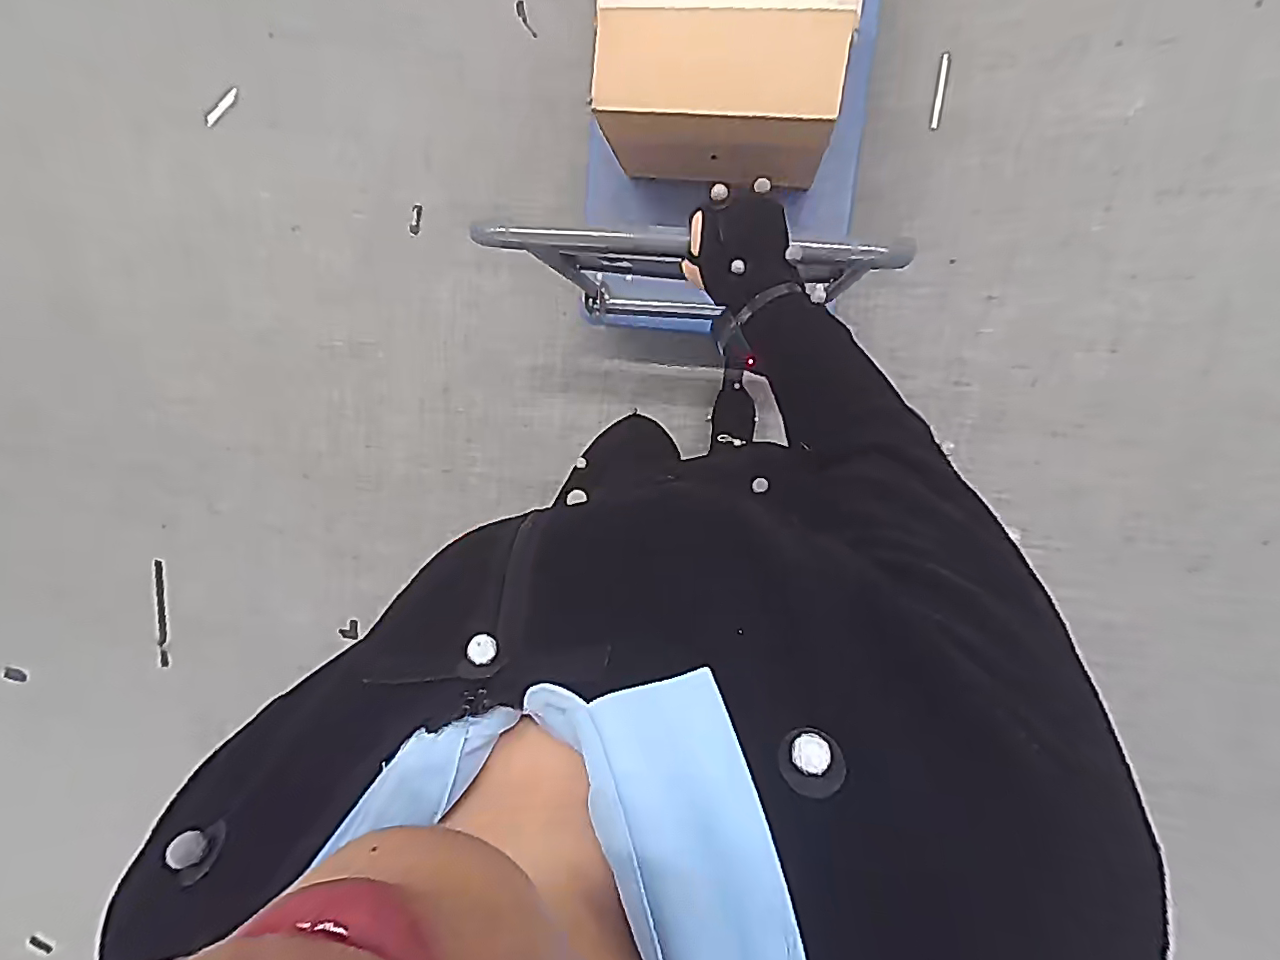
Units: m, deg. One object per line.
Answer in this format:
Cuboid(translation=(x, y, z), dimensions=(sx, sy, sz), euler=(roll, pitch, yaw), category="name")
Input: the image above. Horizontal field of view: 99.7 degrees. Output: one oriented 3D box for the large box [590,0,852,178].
Cuboid(translation=(0.152, -0.769, 0.980), dimensions=(0.408, 0.320, 0.320), euler=(8, 100, 9), category="large box")
